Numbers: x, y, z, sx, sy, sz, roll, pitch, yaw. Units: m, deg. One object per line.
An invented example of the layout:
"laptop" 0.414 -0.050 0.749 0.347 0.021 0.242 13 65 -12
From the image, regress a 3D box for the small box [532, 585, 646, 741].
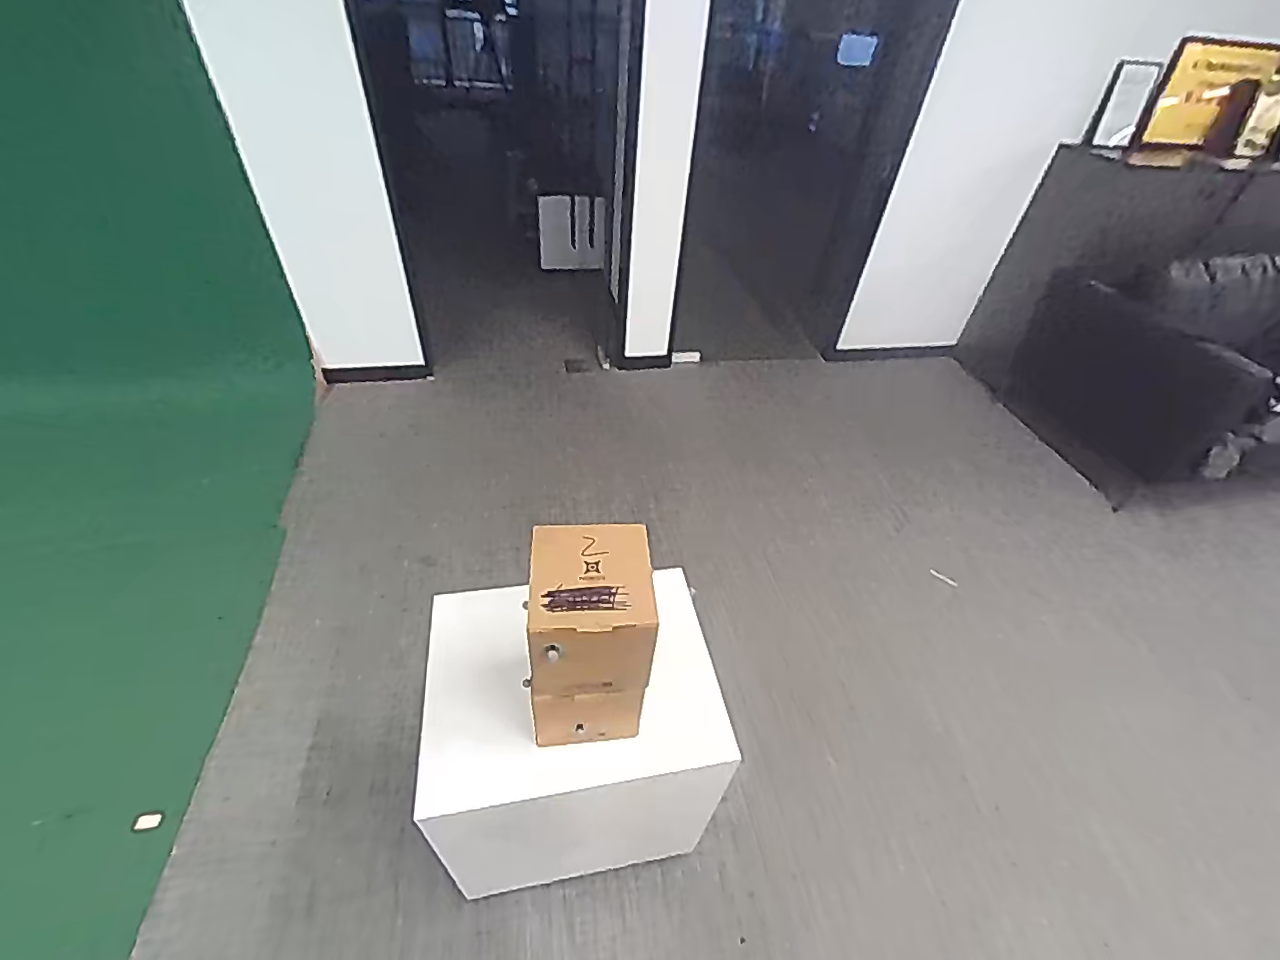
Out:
"small box" -0.088 0.296 0.881 0.168 0.176 0.179 -2 42 -8
